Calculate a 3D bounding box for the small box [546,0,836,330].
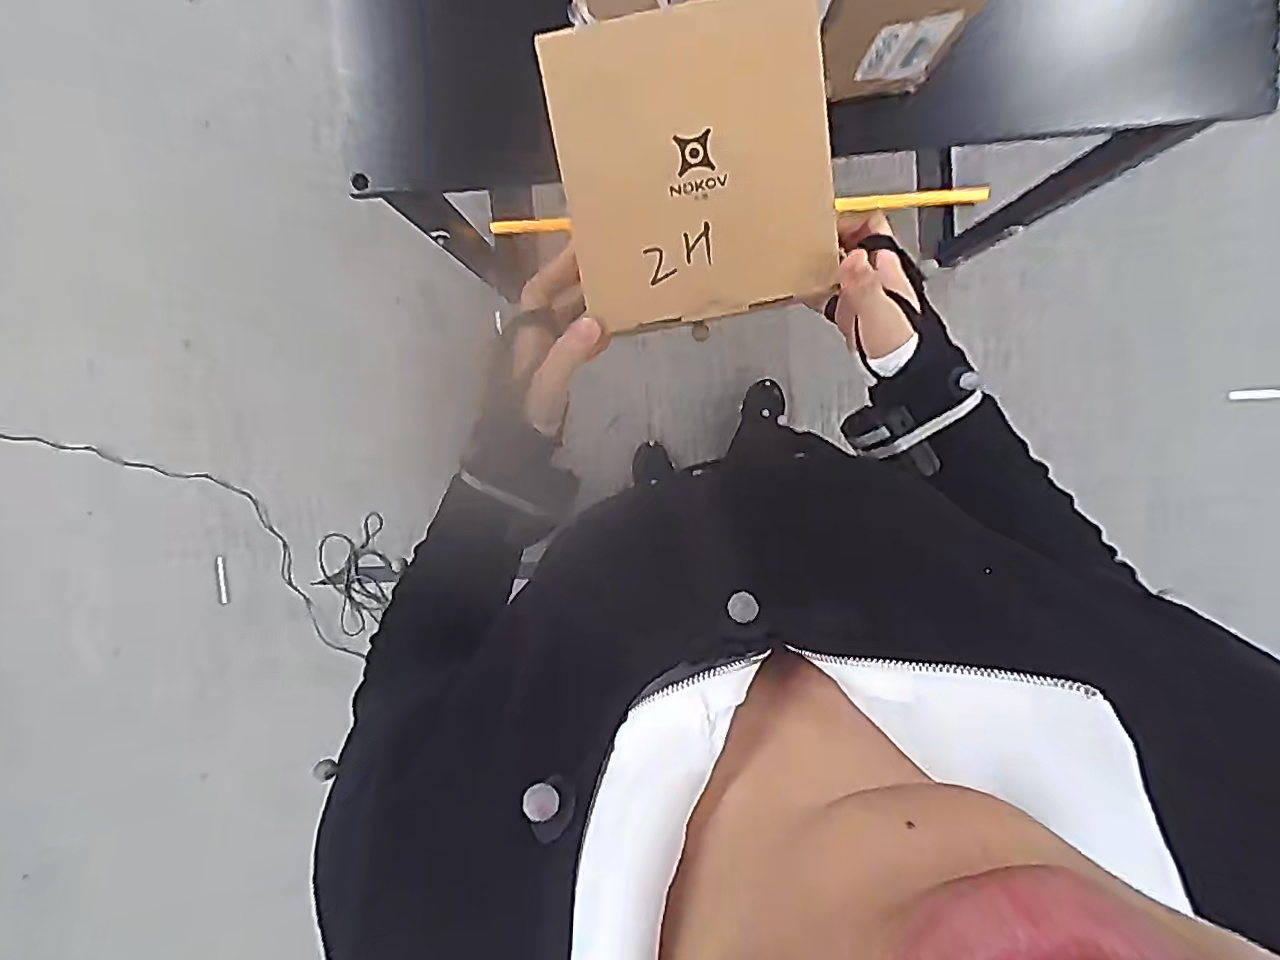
[{"bbox_3d":[0.036,-0.219,0.415,0.168,0.176,0.179,-9,103,4],"label":"small box"}]
